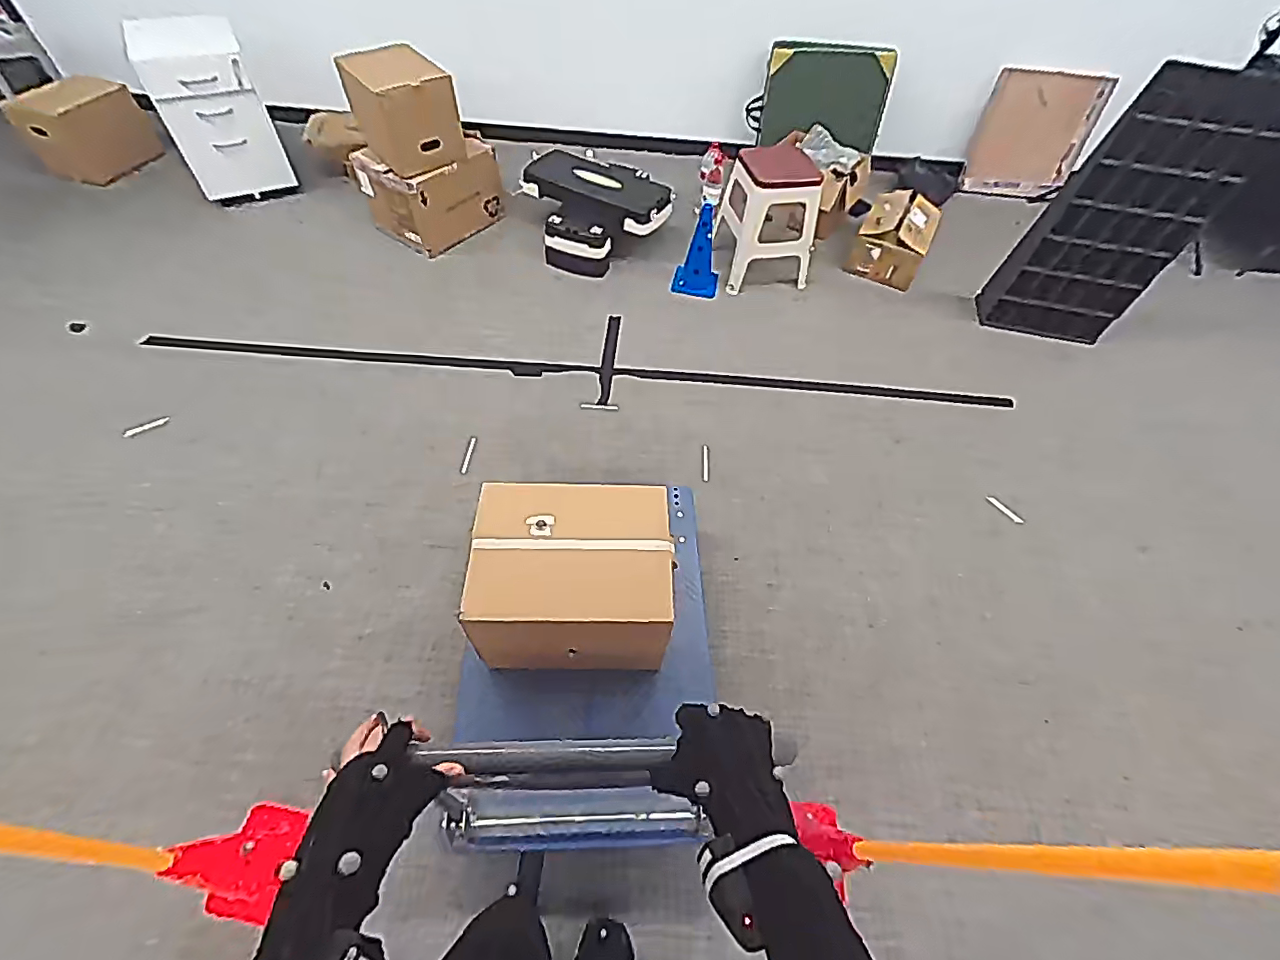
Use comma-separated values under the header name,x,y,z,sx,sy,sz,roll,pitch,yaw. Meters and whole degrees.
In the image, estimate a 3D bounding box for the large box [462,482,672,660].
name,x,y,z,sx,sy,sz,roll,pitch,yaw
large box,-0.144,0.216,1.228,0.408,0.320,0.320,2,56,-3

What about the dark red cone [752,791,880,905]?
name,x,y,z,sx,sy,sz,roll,pitch,yaw
dark red cone,0.366,0.714,1.064,0.201,0.394,0.202,6,55,-2
